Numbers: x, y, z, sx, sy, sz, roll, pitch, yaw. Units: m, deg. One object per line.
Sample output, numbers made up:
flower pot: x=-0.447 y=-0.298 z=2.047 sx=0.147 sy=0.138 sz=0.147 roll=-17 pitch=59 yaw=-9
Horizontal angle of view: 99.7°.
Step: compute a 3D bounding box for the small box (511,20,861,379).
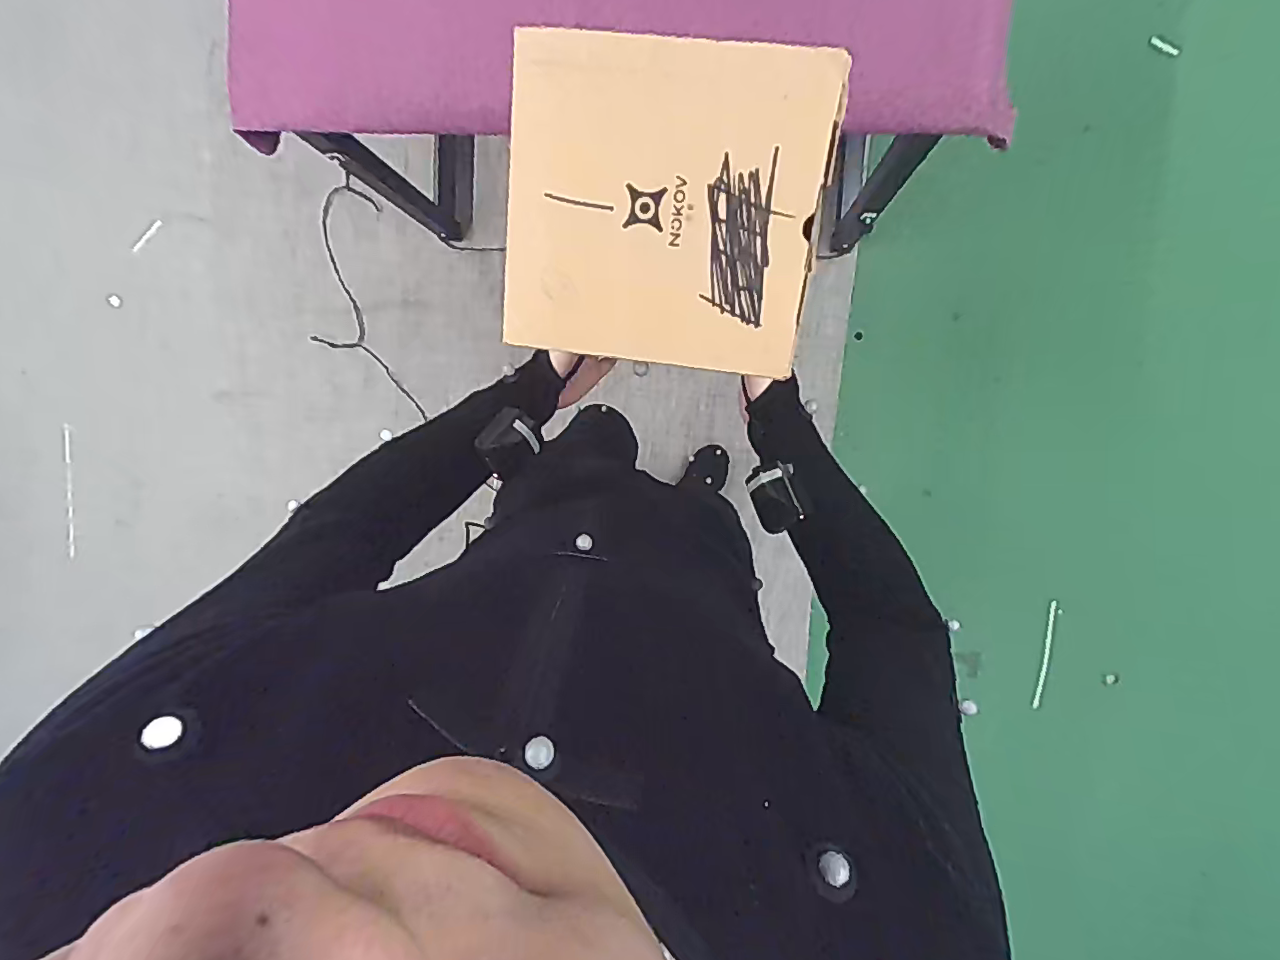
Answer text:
small box: x=0.025 y=-0.172 z=0.375 sx=0.179 sy=0.176 sz=0.168 roll=9 pitch=107 yaw=5
